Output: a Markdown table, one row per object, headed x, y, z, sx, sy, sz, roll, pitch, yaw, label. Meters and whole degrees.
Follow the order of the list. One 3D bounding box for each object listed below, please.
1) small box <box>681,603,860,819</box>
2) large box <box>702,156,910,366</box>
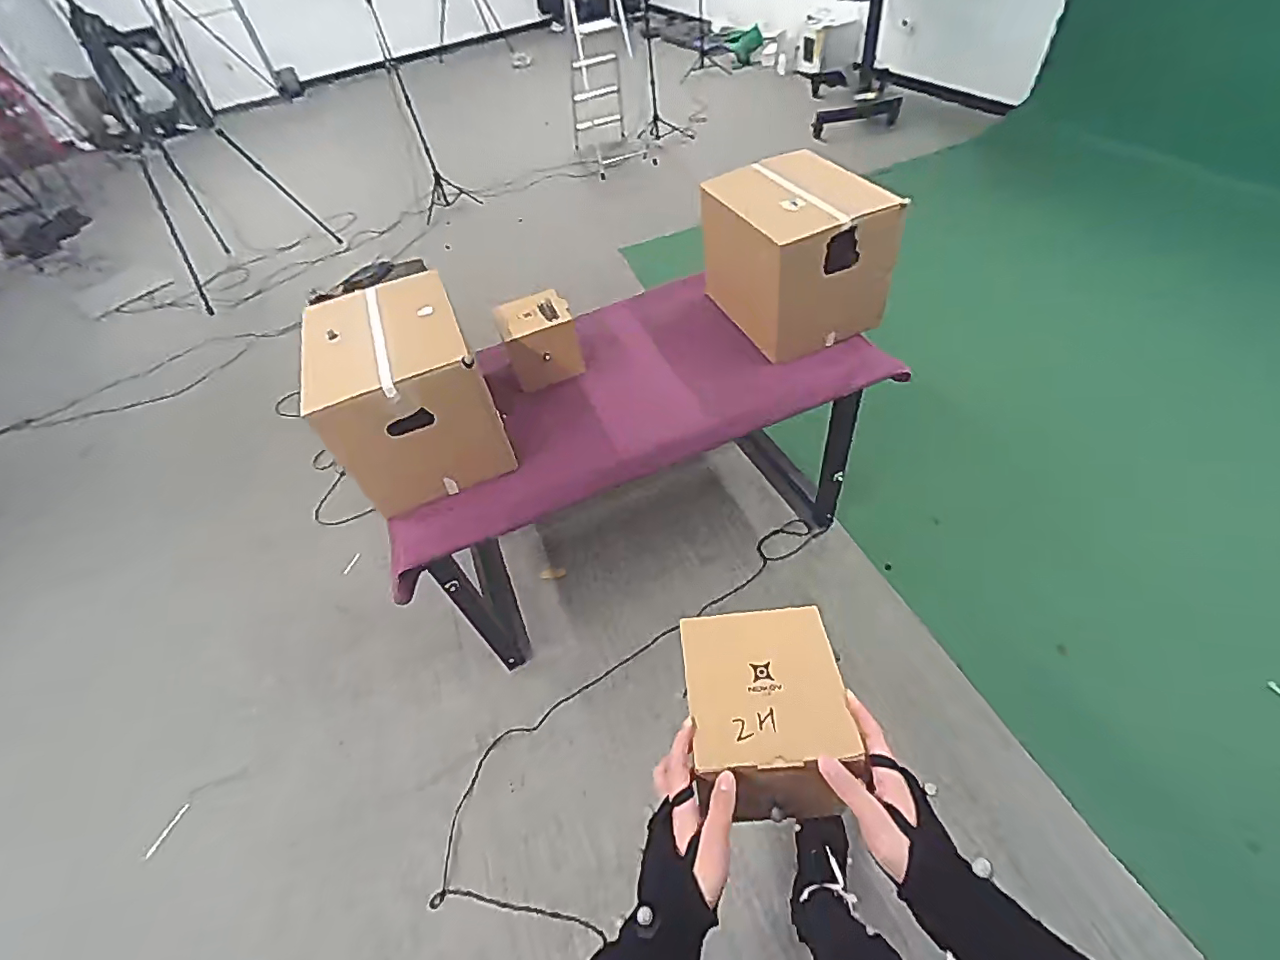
| x | y | z | sx | sy | sz | roll | pitch | yaw | label |
| --- | --- | --- | --- | --- | --- | --- | --- | --- | --- |
| 0.137 | 0.269 | 0.634 | 0.168 | 0.176 | 0.179 | -6 | 41 | 4 | small box |
| 0.385 | -0.559 | 1.370 | 0.320 | 0.320 | 0.408 | -22 | 50 | -7 | large box |
